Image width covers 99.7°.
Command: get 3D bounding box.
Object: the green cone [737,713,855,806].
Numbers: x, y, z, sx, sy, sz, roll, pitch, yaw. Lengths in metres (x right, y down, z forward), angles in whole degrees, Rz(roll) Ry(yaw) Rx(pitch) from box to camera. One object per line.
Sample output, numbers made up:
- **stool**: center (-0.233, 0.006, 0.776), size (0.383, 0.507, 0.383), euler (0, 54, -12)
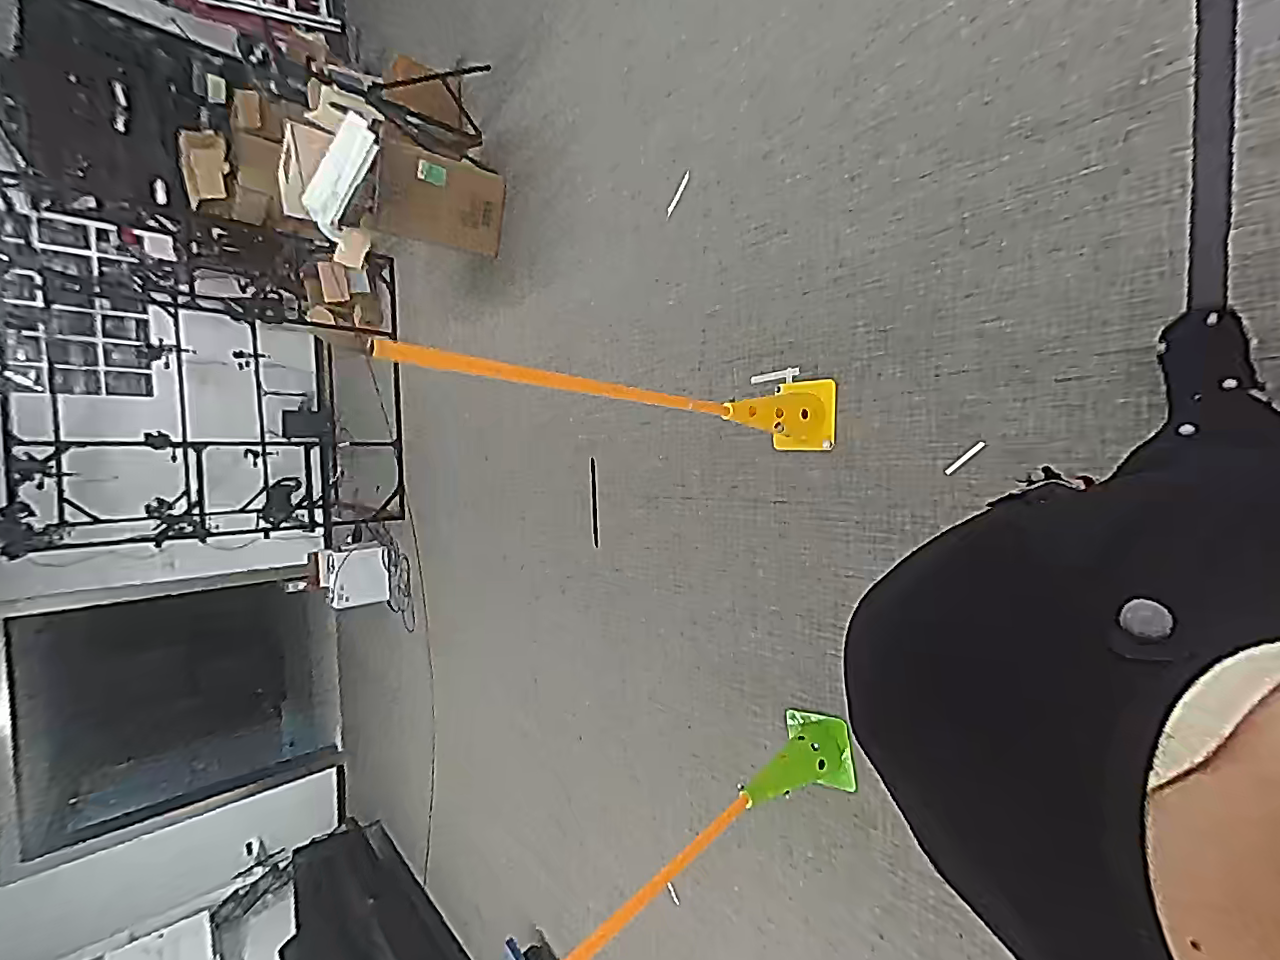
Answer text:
- **green cone**: center (0.393, 0.791, 1.455), size (0.200, 0.368, 0.202), euler (-14, 80, 48)
